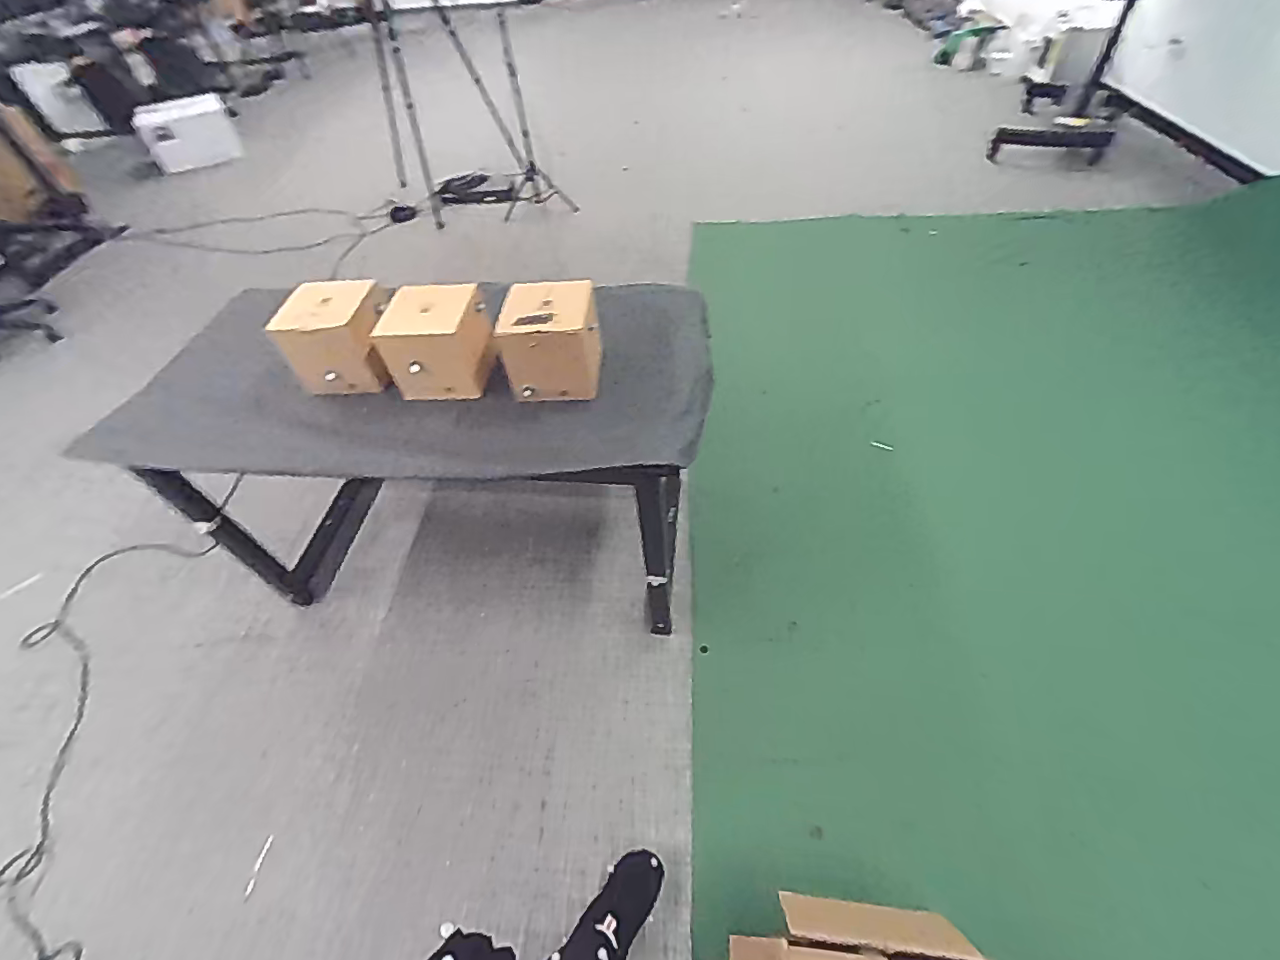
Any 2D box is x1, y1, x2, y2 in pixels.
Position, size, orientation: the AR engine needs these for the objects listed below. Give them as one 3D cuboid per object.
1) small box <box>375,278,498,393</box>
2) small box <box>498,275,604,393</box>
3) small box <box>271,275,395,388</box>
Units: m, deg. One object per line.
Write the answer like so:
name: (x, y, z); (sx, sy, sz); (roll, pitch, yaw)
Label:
small box: (-0.407, -0.293, 1.120); (0.168, 0.176, 0.179); (0, 50, 5)
small box: (-0.169, -0.288, 1.091); (0.168, 0.176, 0.179); (-1, 49, 5)
small box: (-0.628, -0.315, 1.155); (0.168, 0.176, 0.179); (-1, 50, 4)
